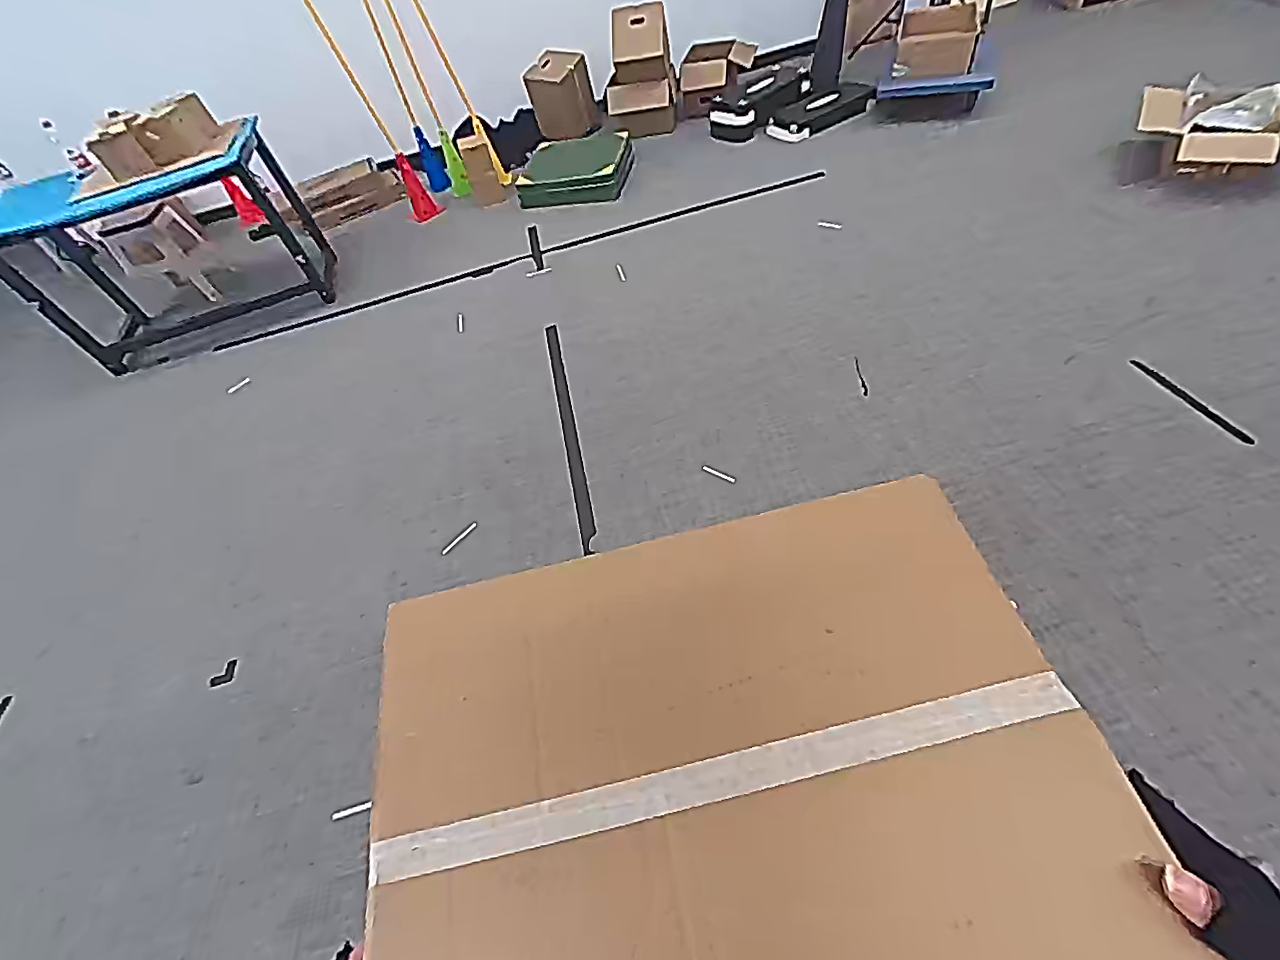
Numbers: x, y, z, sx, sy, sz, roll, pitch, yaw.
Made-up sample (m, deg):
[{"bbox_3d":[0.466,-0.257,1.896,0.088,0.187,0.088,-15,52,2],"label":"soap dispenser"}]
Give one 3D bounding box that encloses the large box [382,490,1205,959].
[{"bbox_3d":[0.067,0.257,0.438,0.408,0.320,0.320,-14,55,0],"label":"large box"}]
